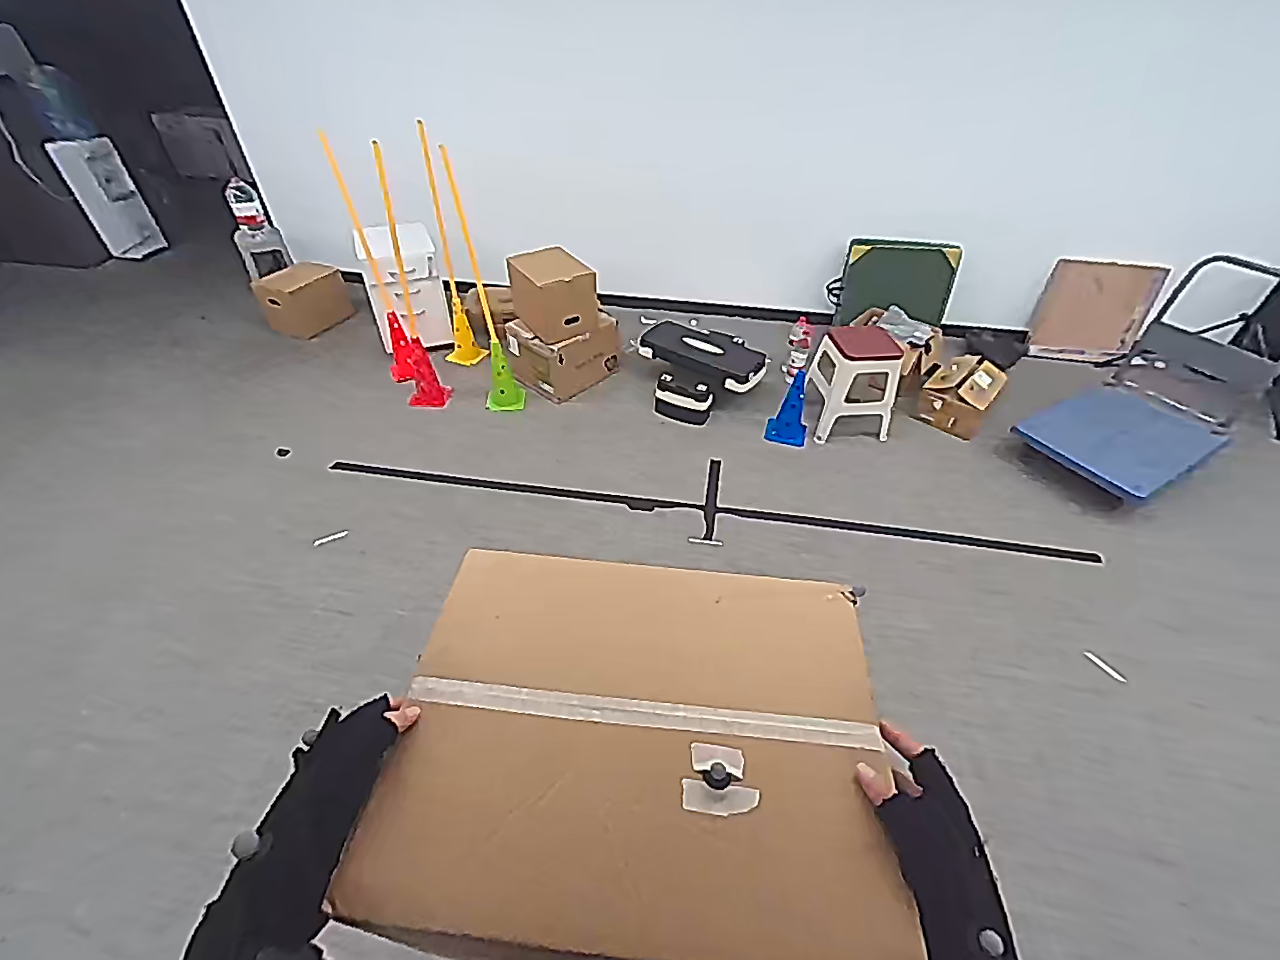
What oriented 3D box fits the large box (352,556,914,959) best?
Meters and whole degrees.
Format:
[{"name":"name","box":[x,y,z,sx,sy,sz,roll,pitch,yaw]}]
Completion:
[{"name":"large box","box":[-0.001,0.311,0.582,0.408,0.320,0.320,6,45,4]}]
